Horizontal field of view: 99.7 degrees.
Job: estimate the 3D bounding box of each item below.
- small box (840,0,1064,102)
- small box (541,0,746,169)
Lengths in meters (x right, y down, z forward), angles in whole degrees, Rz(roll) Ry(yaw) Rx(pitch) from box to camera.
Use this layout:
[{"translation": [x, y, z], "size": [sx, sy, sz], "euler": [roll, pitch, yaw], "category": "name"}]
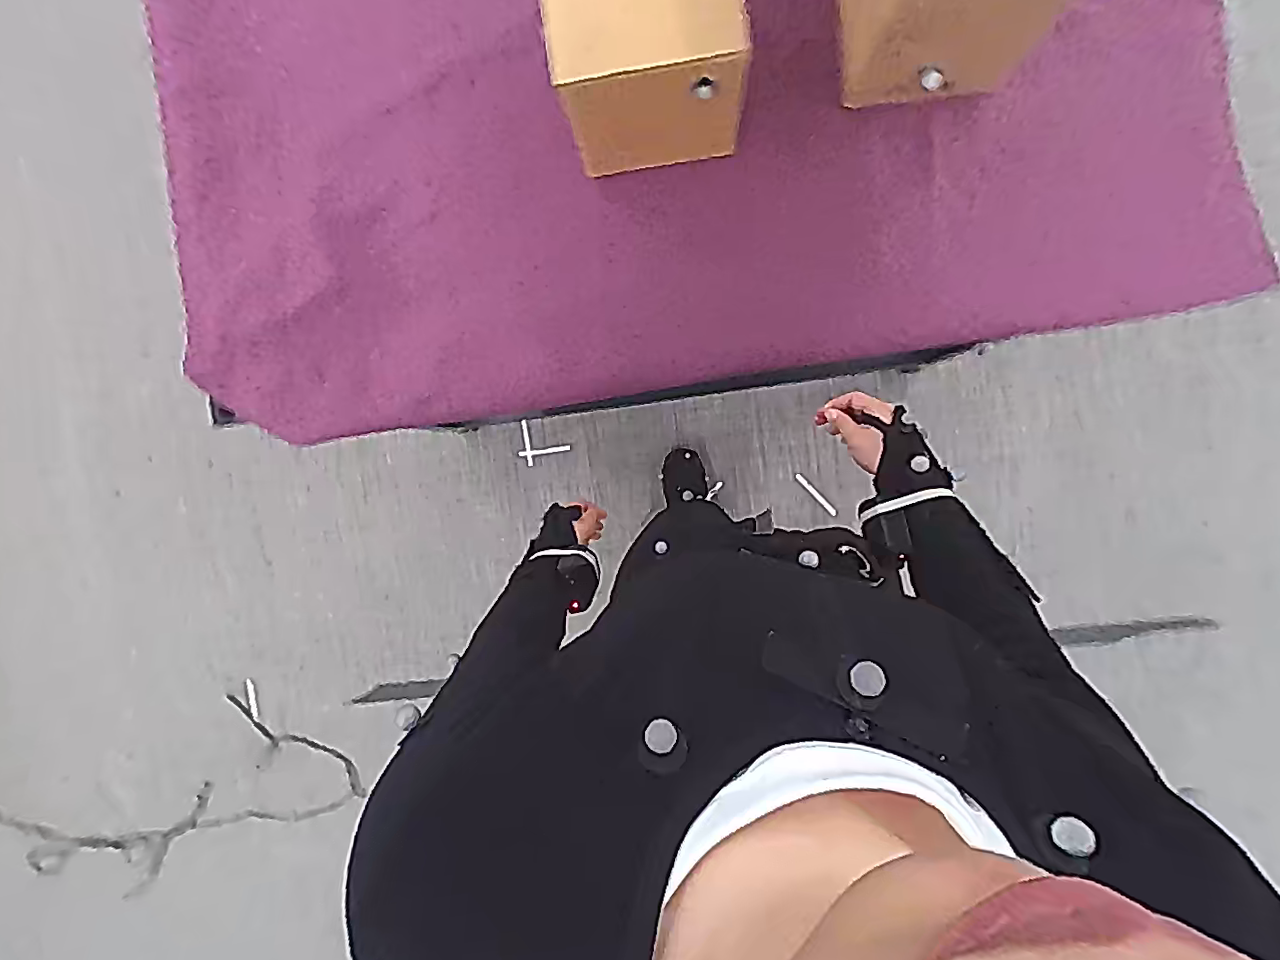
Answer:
[{"translation": [0.297, -0.512, 0.522], "size": [0.168, 0.176, 0.179], "euler": [-4, 94, 5], "category": "small box"}, {"translation": [0.003, -0.447, 0.549], "size": [0.179, 0.176, 0.168], "euler": [-8, 92, 4], "category": "small box"}]
